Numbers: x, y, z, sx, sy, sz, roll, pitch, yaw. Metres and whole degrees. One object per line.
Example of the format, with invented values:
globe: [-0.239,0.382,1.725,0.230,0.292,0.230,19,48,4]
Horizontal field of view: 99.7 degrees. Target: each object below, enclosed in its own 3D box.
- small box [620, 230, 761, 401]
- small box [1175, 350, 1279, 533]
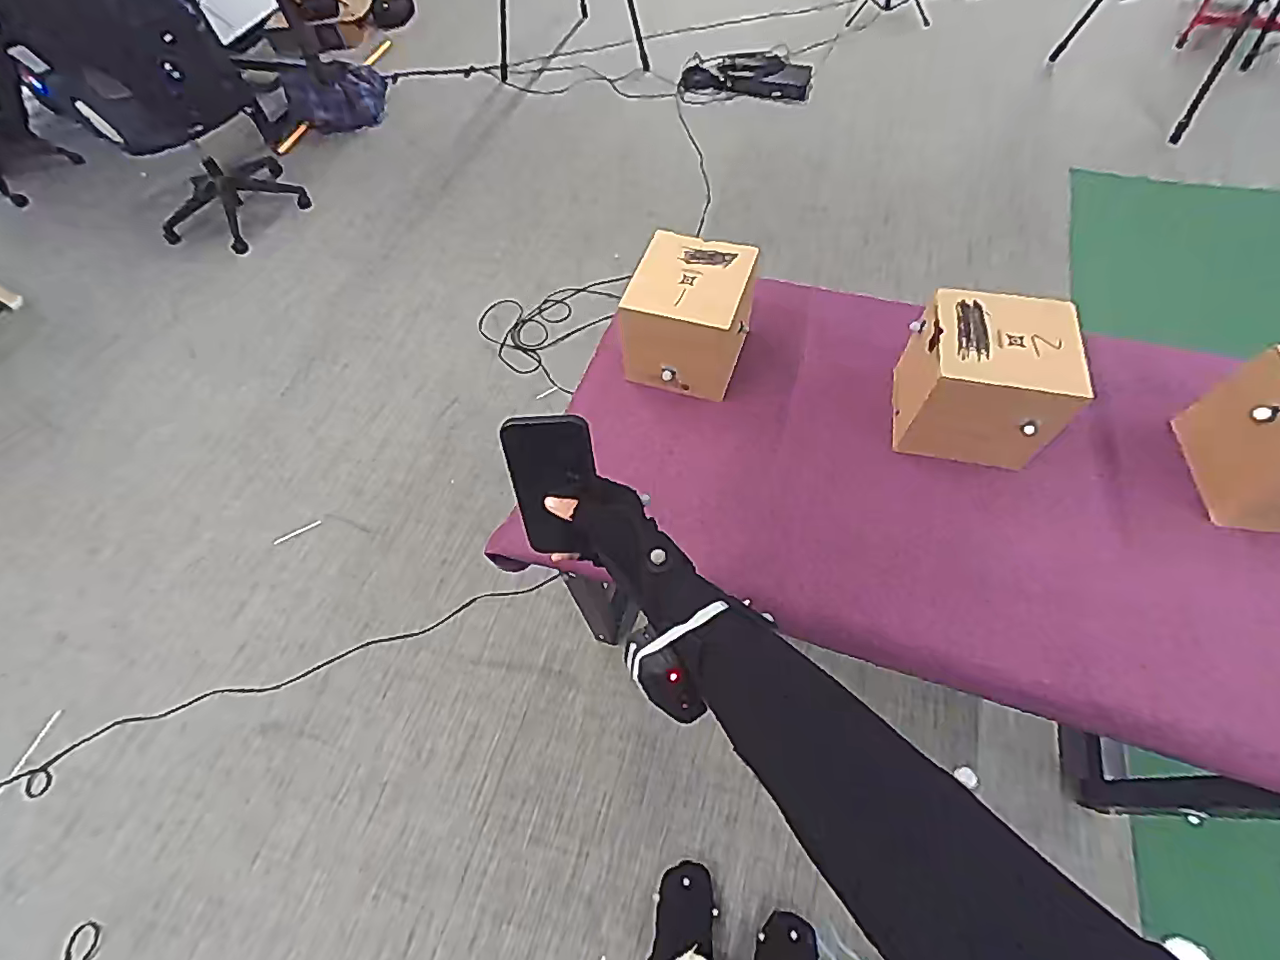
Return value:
small box: [0.080,-0.256,0.855,0.168,0.176,0.179,16,64,13]
small box: [0.843,-0.037,0.675,0.168,0.176,0.179,6,60,8]
